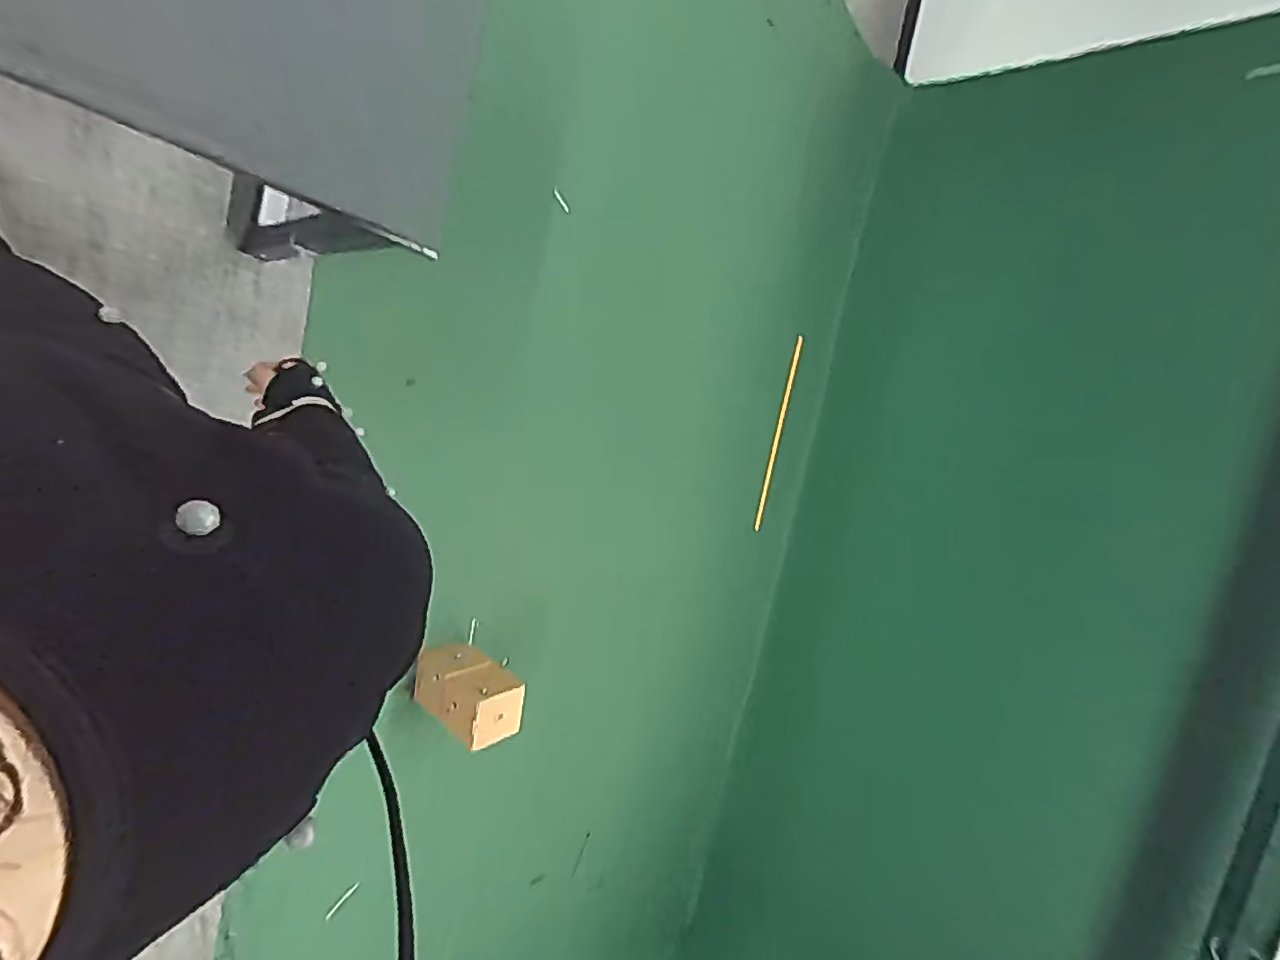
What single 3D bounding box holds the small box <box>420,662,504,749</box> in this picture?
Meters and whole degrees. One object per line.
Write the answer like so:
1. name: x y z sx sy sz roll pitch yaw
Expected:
1. small box: -0.556 0.693 1.690 0.179 0.176 0.168 -1 104 -52
